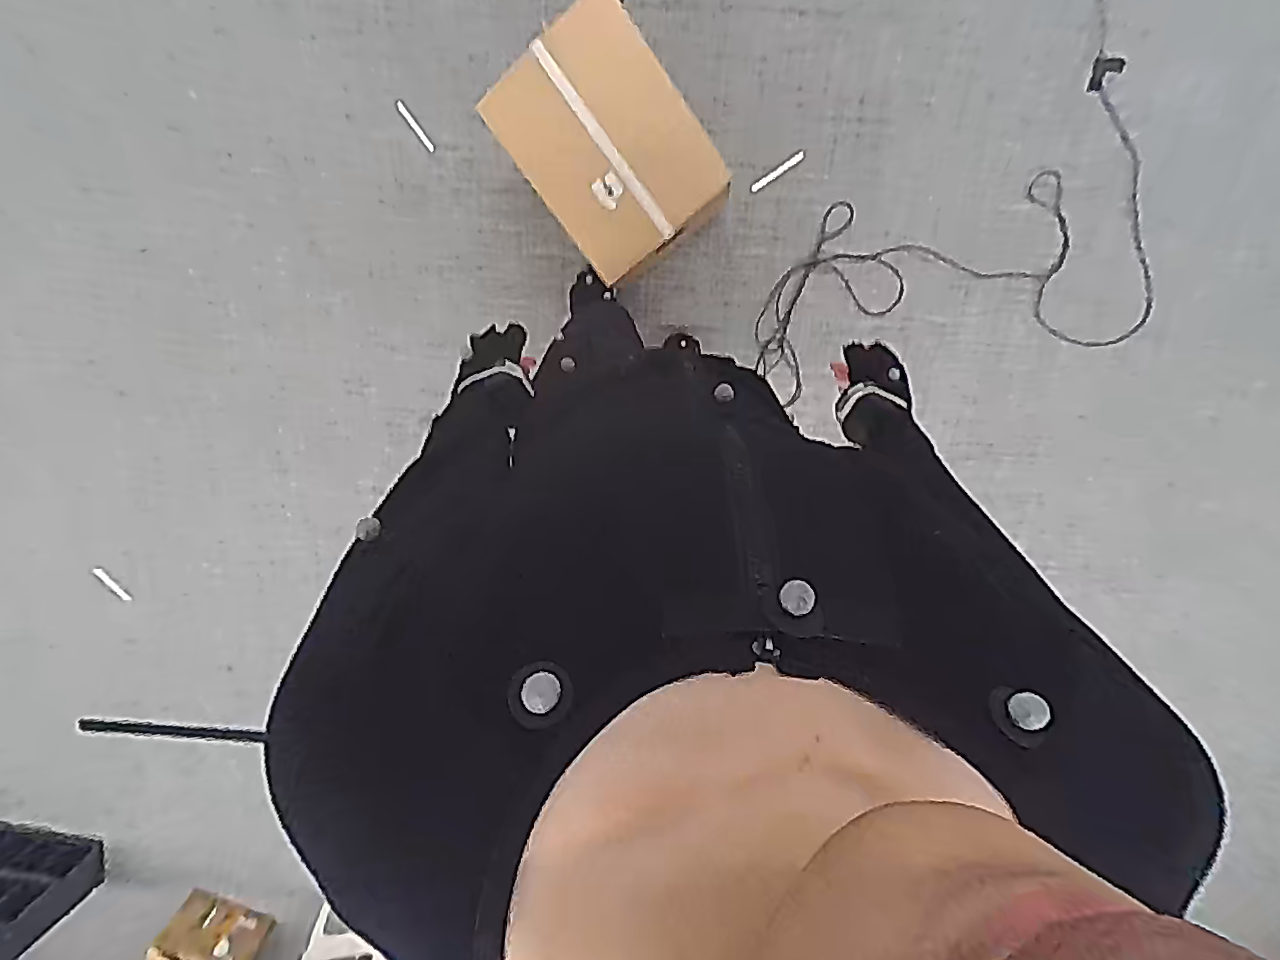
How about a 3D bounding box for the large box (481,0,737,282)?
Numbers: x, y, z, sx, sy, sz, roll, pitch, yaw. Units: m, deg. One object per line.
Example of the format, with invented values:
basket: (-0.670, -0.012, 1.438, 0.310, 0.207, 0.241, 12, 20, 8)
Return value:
large box: (-0.052, -0.689, 1.157, 0.320, 0.320, 0.408, -38, 103, 14)
